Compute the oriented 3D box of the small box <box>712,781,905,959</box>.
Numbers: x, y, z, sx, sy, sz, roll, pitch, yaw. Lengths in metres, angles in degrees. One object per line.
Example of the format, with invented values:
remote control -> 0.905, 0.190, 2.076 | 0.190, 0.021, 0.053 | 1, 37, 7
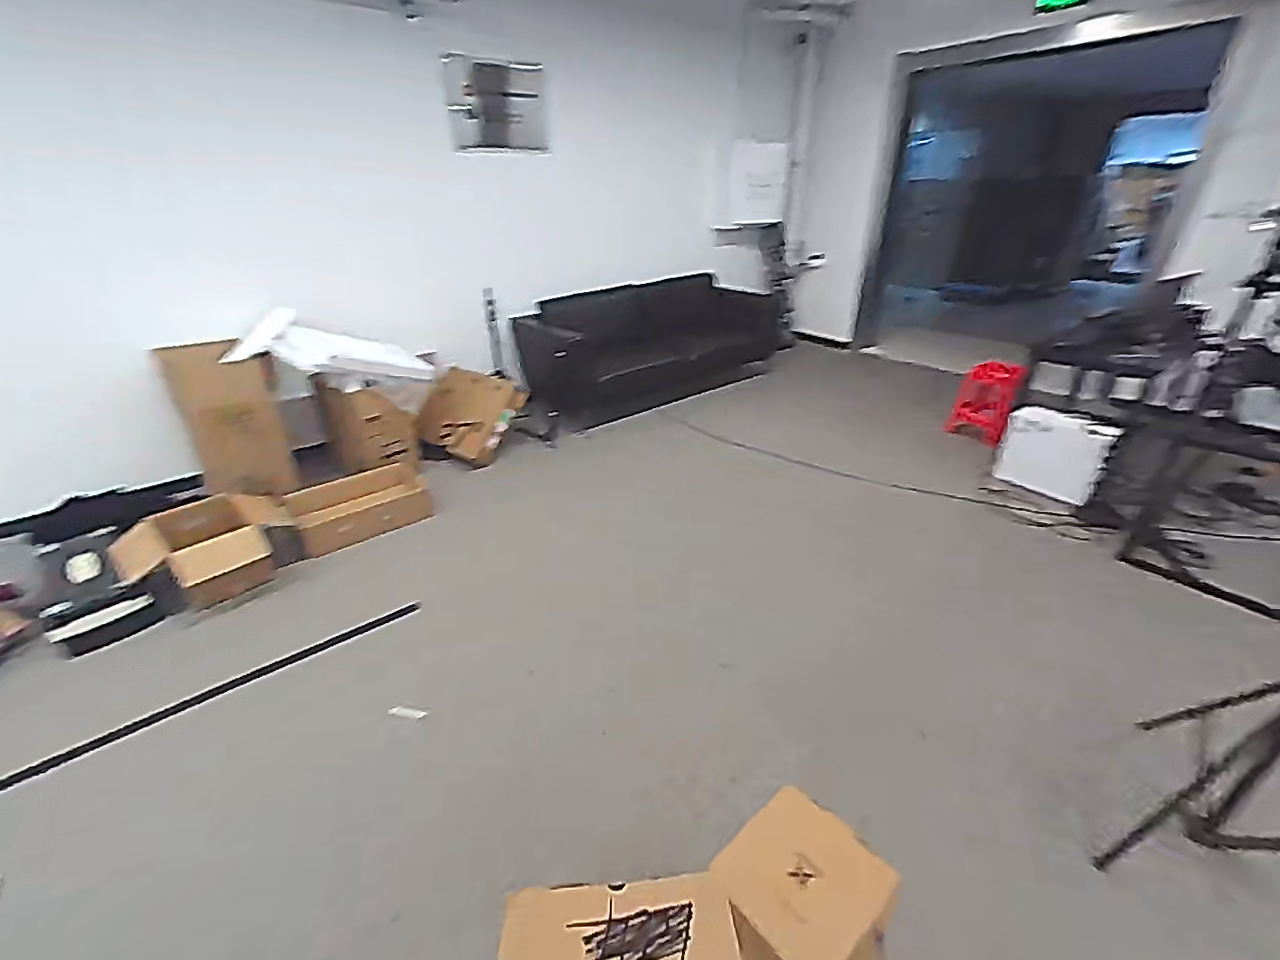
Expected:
small box -> 0.208, 0.548, 0.696 | 0.179, 0.176, 0.168 | -25, 34, -32
